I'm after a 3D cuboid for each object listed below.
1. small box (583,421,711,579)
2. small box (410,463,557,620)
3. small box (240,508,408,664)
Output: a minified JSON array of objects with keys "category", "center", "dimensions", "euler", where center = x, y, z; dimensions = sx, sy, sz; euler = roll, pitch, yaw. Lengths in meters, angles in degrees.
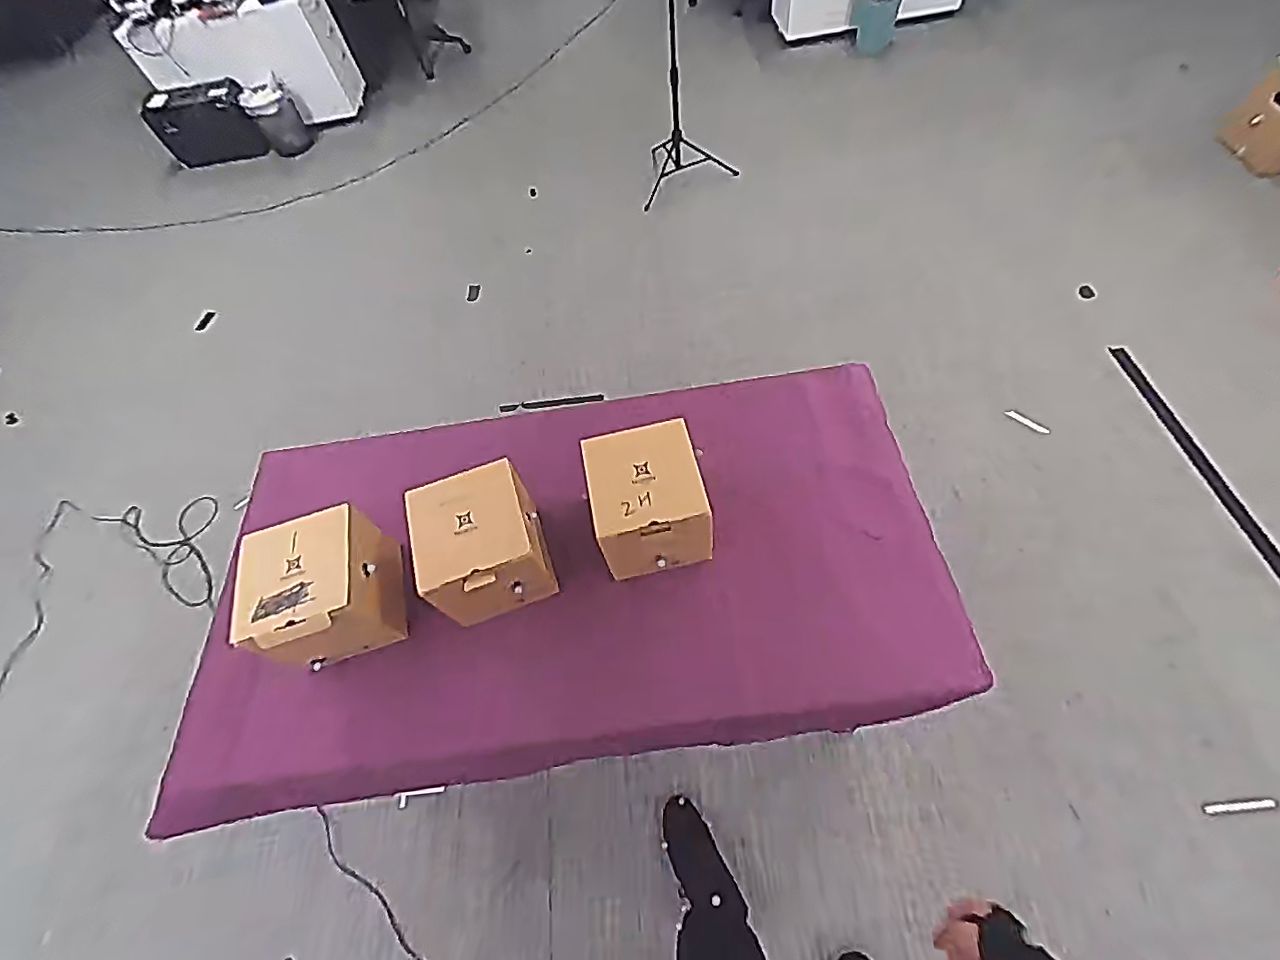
[{"category":"small box","center":[0.013,0.037,0.867],"dimensions":[0.168,0.176,0.179],"euler":[-13,59,1]},{"category":"small box","center":[-0.243,0.107,0.863],"dimensions":[0.168,0.176,0.179],"euler":[-19,58,-5]},{"category":"small box","center":[-0.484,0.176,0.852],"dimensions":[0.168,0.176,0.179],"euler":[-18,58,-4]}]
